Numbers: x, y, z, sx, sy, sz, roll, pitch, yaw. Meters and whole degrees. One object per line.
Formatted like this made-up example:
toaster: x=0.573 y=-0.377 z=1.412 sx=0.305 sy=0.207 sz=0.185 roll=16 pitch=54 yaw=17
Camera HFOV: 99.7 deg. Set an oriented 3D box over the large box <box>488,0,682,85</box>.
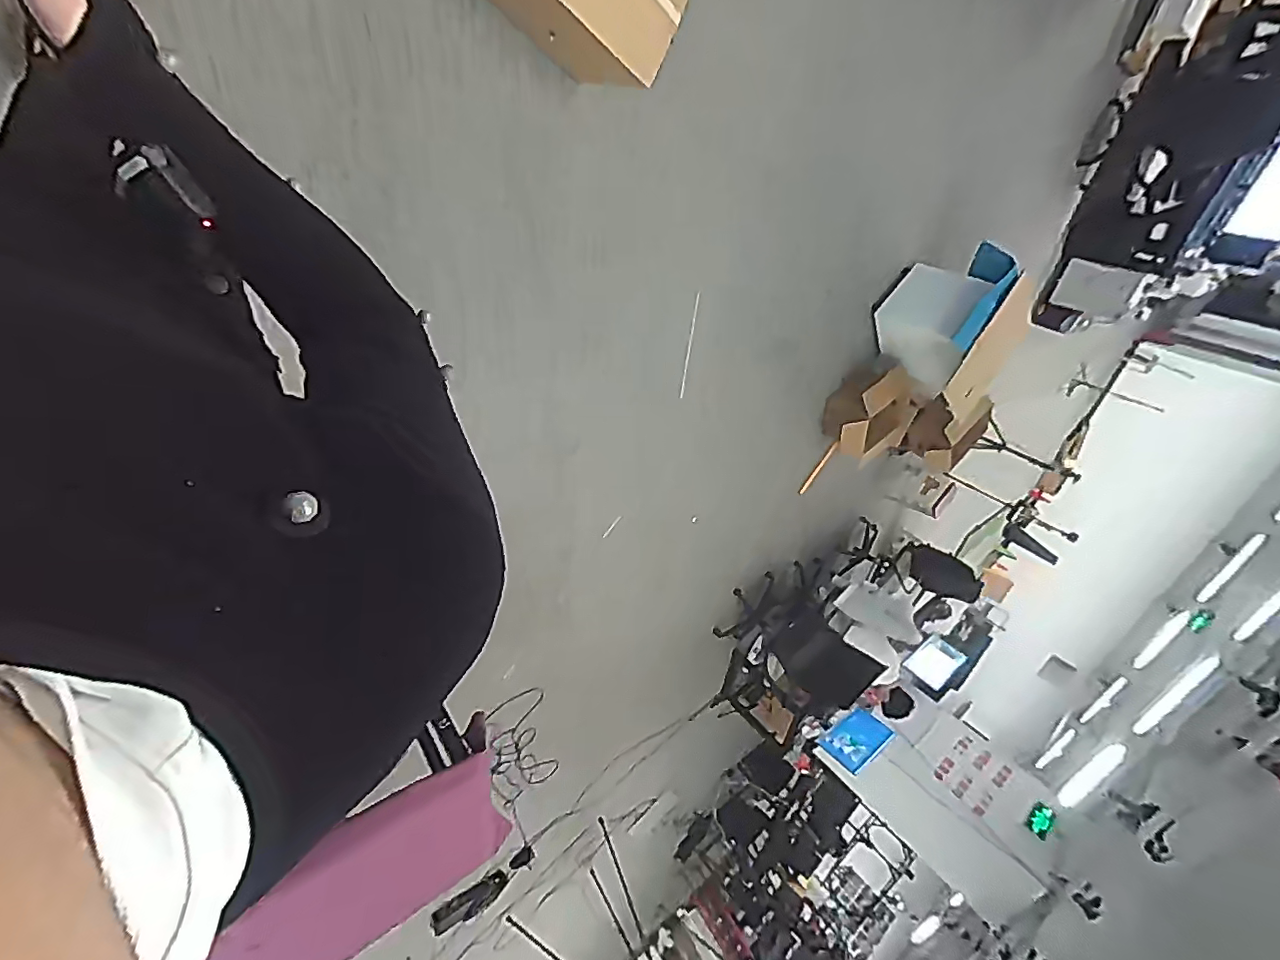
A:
large box: x=-0.142 y=-1.191 z=1.235 sx=0.408 sy=0.320 sz=0.320 roll=9 pitch=113 yaw=-48
